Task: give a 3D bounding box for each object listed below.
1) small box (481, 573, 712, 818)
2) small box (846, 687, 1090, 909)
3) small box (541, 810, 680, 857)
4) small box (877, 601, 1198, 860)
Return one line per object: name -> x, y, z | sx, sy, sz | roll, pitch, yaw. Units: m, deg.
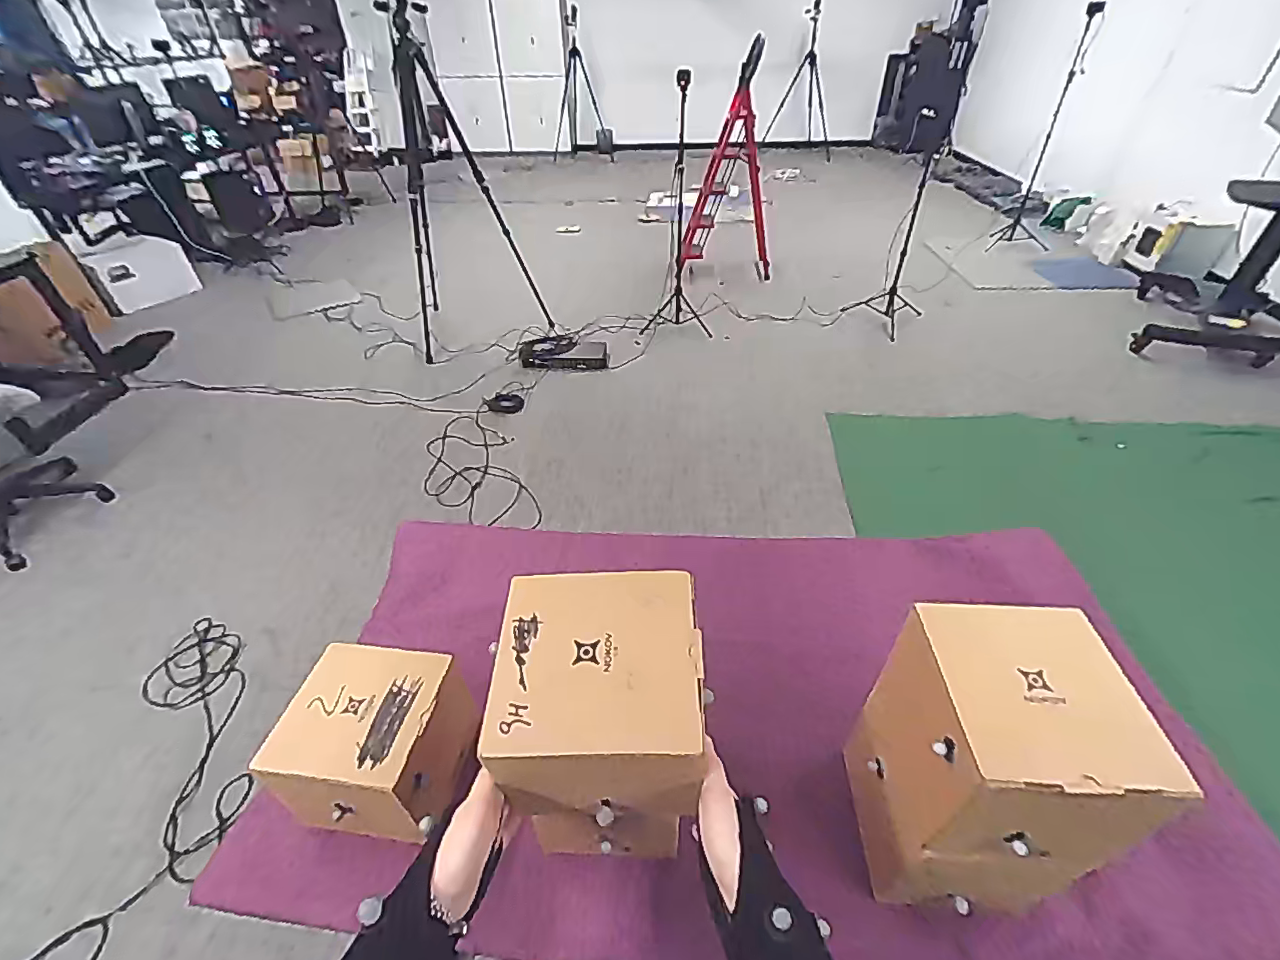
small box -> -0.031, 0.205, 0.515 | 0.179, 0.176, 0.168 | -1, 44, 1
small box -> 0.357, 0.371, 0.637 | 0.168, 0.176, 0.179 | 2, 41, 4
small box -> -0.034, 0.341, 0.681 | 0.168, 0.176, 0.179 | 0, 39, 2
small box -> 0.356, 0.244, 0.536 | 0.168, 0.176, 0.179 | 1, 40, 3
